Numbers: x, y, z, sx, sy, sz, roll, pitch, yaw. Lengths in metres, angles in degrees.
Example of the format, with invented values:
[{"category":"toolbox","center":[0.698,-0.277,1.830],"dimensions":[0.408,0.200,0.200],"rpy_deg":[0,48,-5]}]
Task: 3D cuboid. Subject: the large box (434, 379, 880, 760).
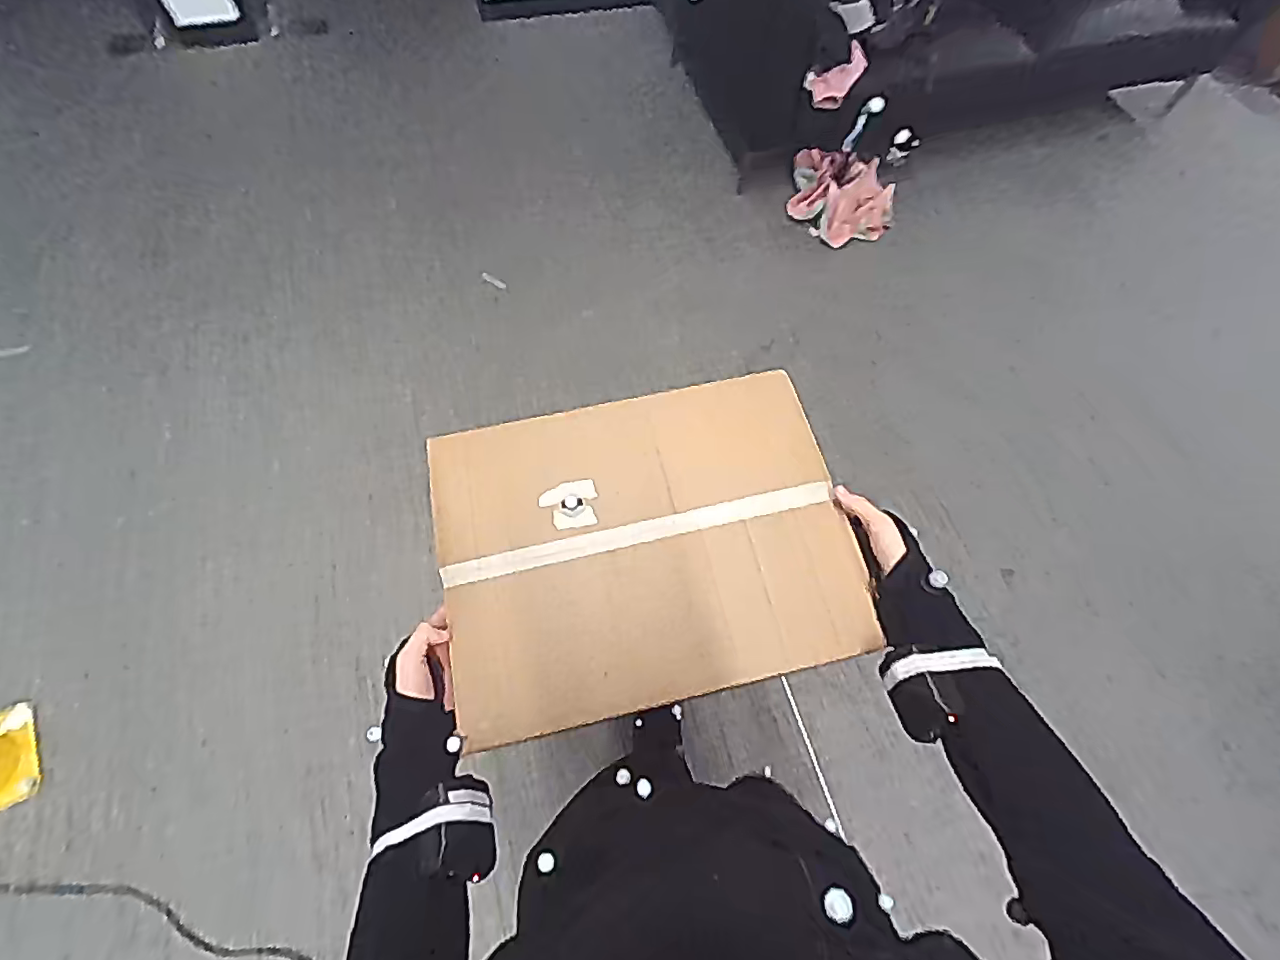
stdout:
[{"category":"large box","center":[0.006,0.121,0.691],"dimensions":[0.408,0.320,0.320],"rpy_deg":[-14,67,-5]}]
